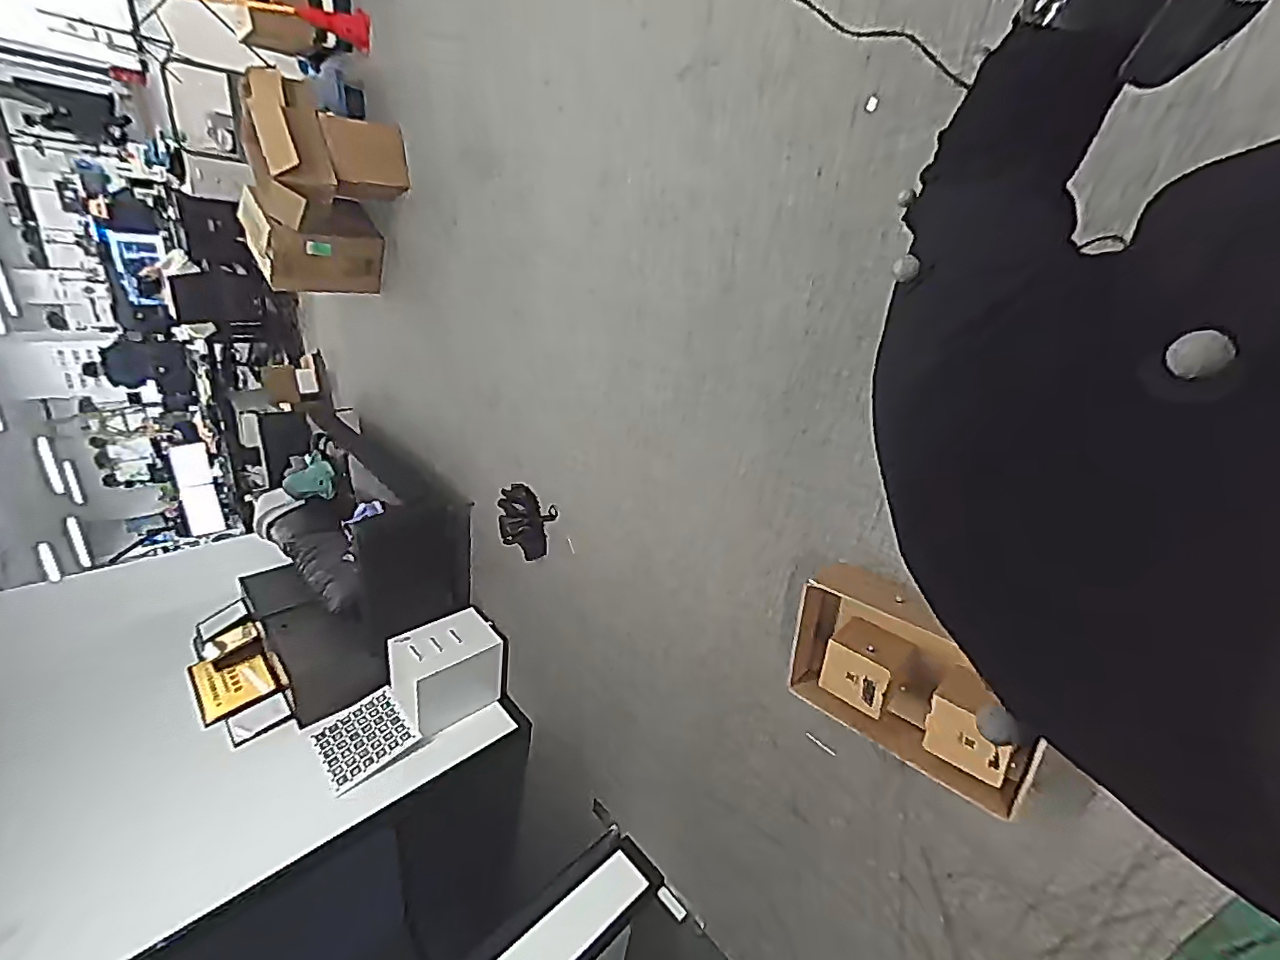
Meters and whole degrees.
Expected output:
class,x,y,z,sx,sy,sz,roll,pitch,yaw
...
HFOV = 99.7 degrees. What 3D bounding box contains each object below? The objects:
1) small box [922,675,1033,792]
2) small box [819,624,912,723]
class,x,y,z,sx,sy,sz,roll,pitch,yaw
small box,0.832,0.611,1.335,0.179,0.176,0.168,19,117,44
small box,0.636,0.533,1.521,0.179,0.176,0.168,24,118,40
